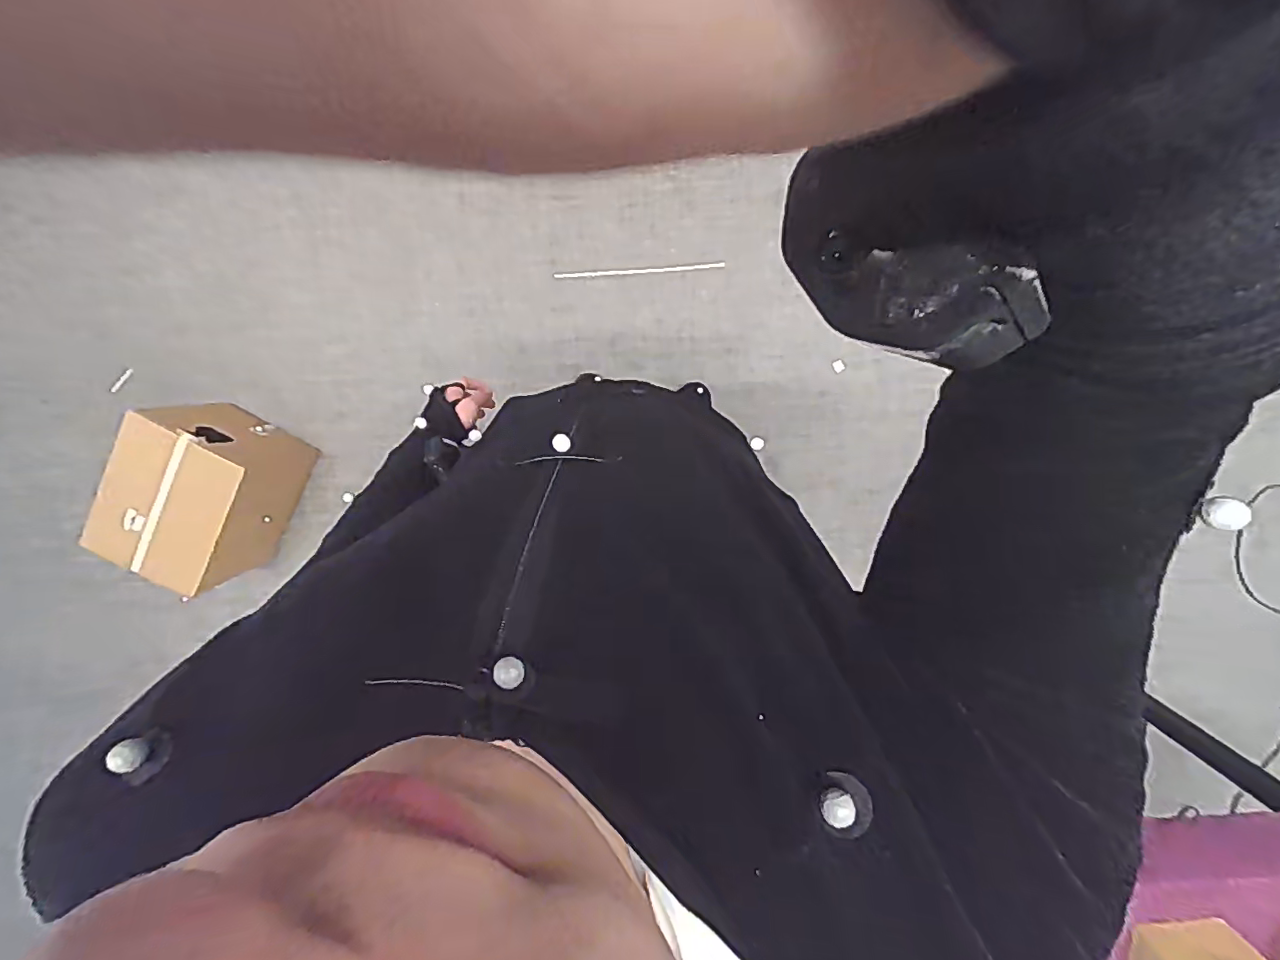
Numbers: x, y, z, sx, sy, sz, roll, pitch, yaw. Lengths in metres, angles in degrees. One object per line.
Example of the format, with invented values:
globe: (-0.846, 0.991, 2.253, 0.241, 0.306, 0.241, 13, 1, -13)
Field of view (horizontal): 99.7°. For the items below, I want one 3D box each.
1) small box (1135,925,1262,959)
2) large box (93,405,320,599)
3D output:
small box: (1.061, 0.958, 0.986, 0.179, 0.176, 0.168, -5, 101, 0)
large box: (-1.185, 0.043, 1.512, 0.320, 0.320, 0.408, 28, 102, -4)
